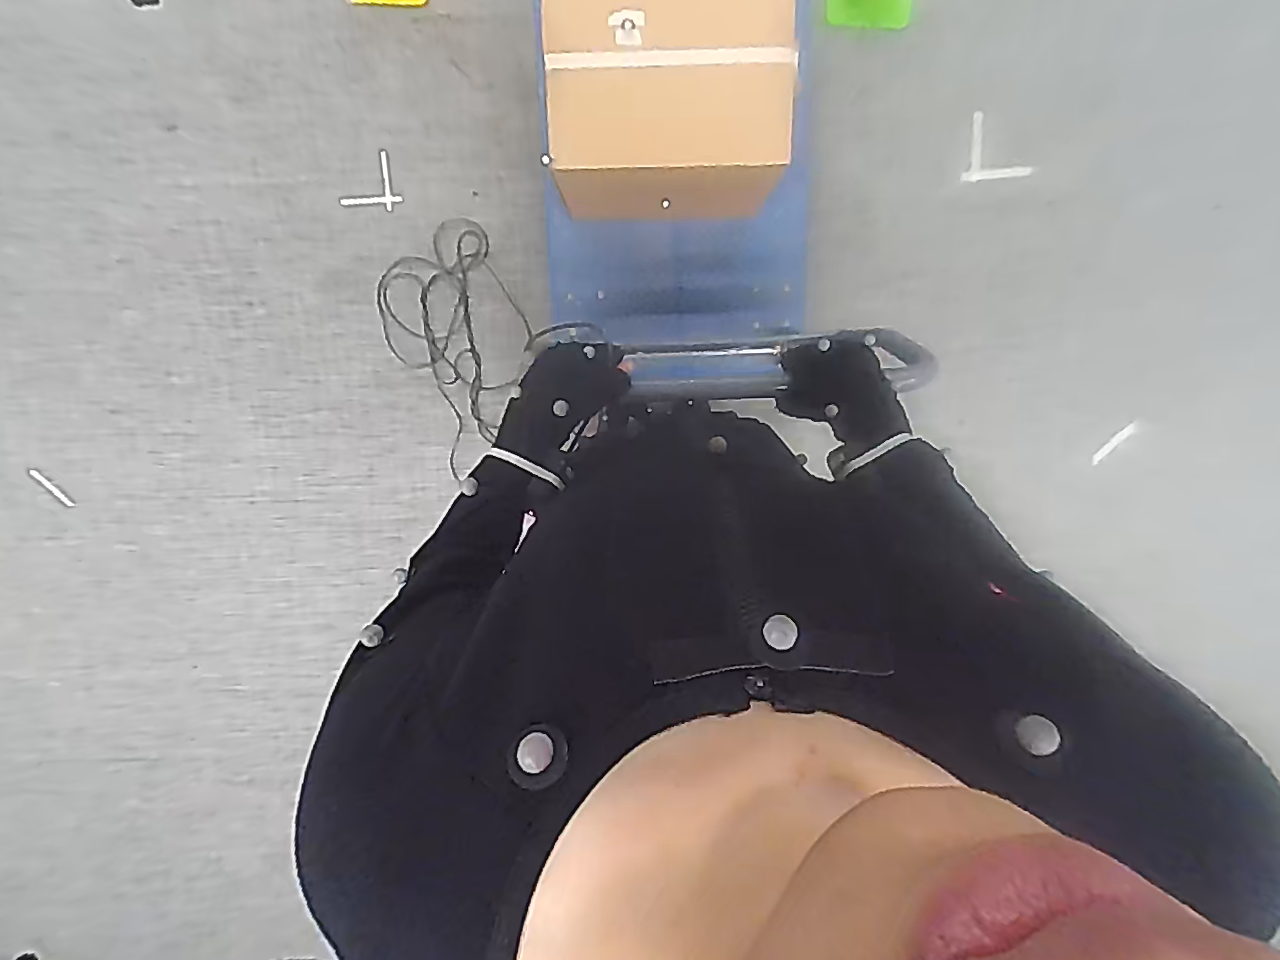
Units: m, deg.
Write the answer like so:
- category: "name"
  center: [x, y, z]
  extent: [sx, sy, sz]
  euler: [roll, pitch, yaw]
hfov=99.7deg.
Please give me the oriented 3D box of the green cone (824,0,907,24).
- category: "green cone"
  center: [0.537, -1.148, 1.091]
  extent: [0.202, 0.368, 0.200]
  euler: [2, 101, -2]

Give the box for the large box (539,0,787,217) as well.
- category: "large box"
  center: [0.043, -0.705, 1.025]
  extent: [0.408, 0.320, 0.320]
  euler: [-1, 101, 1]
